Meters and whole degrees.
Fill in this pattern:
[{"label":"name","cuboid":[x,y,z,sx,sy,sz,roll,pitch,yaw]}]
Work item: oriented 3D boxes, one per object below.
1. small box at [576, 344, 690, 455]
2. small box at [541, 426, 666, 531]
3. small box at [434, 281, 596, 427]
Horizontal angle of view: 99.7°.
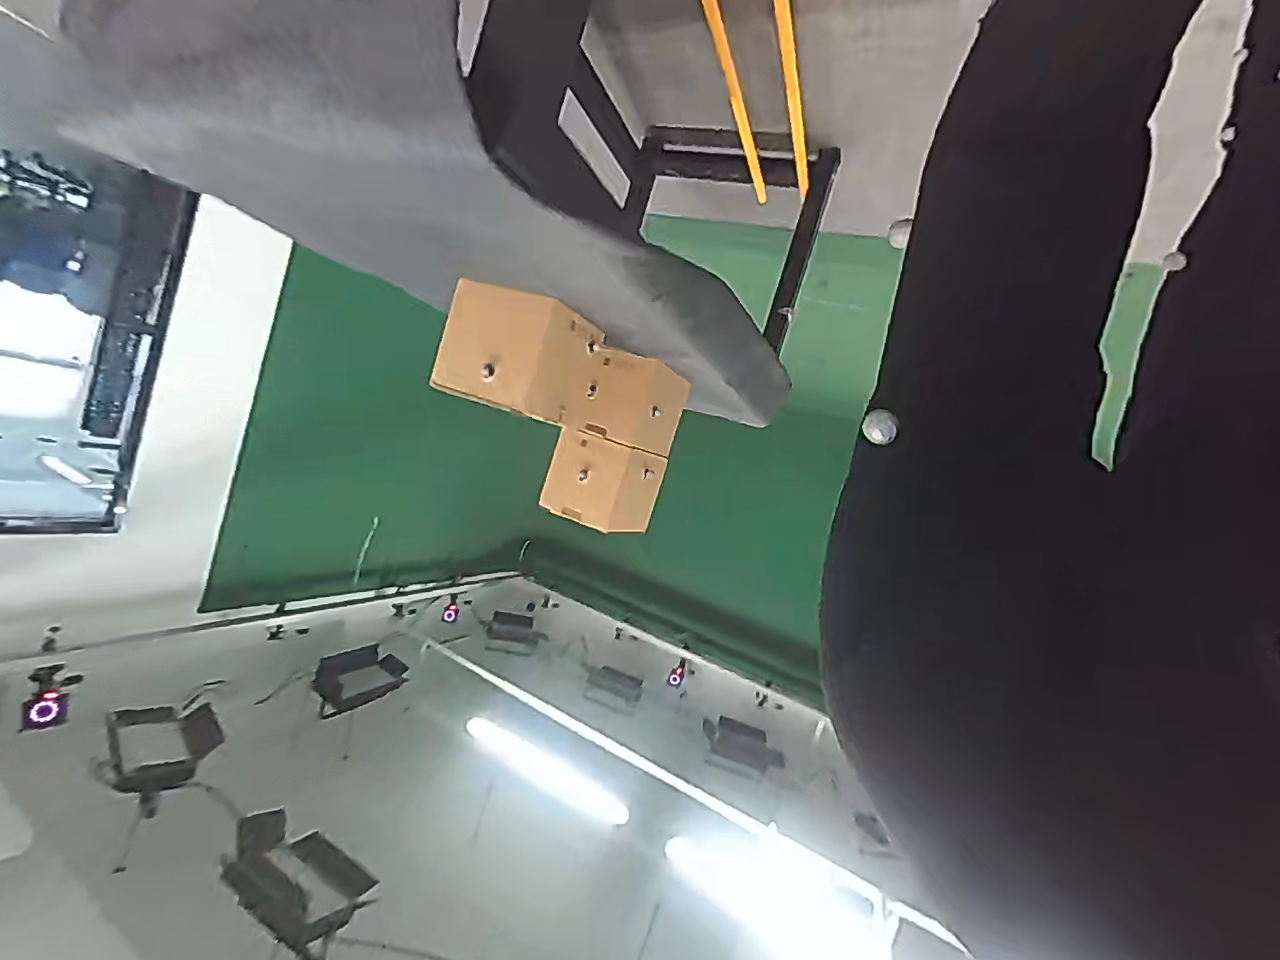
[{"label":"small box","cuboid":[-0.021,-0.160,1.086,0.168,0.176,0.179,20,-175,26]},{"label":"small box","cuboid":[-0.069,-0.003,1.100,0.168,0.176,0.179,20,-176,26]},{"label":"small box","cuboid":[-0.184,-0.196,0.850,0.179,0.176,0.168,19,-177,21]}]
